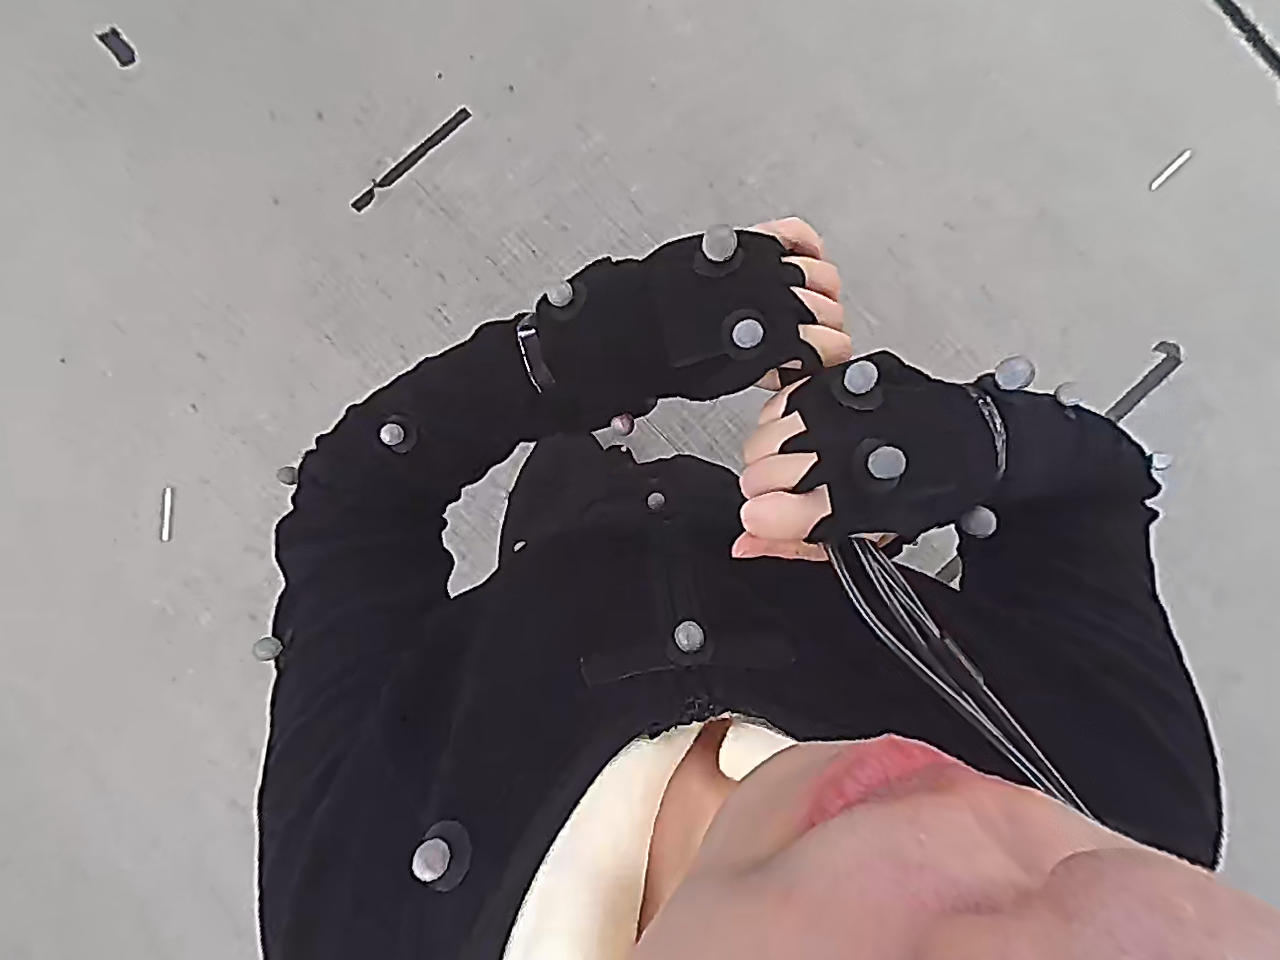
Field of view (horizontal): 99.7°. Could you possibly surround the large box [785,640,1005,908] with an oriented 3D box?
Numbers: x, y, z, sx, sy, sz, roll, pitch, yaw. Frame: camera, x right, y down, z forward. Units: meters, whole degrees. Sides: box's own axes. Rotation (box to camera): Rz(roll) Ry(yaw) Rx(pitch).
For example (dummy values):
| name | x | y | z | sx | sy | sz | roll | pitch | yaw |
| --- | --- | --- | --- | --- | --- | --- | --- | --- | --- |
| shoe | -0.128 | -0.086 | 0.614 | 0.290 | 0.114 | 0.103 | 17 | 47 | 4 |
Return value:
| name | x | y | z | sx | sy | sz | roll | pitch | yaw |
| --- | --- | --- | --- | --- | --- | --- | --- | --- | --- |
| large box | 0.551 | 0.630 | 1.227 | 0.320 | 0.320 | 0.408 | -9 | 93 | -3 |
